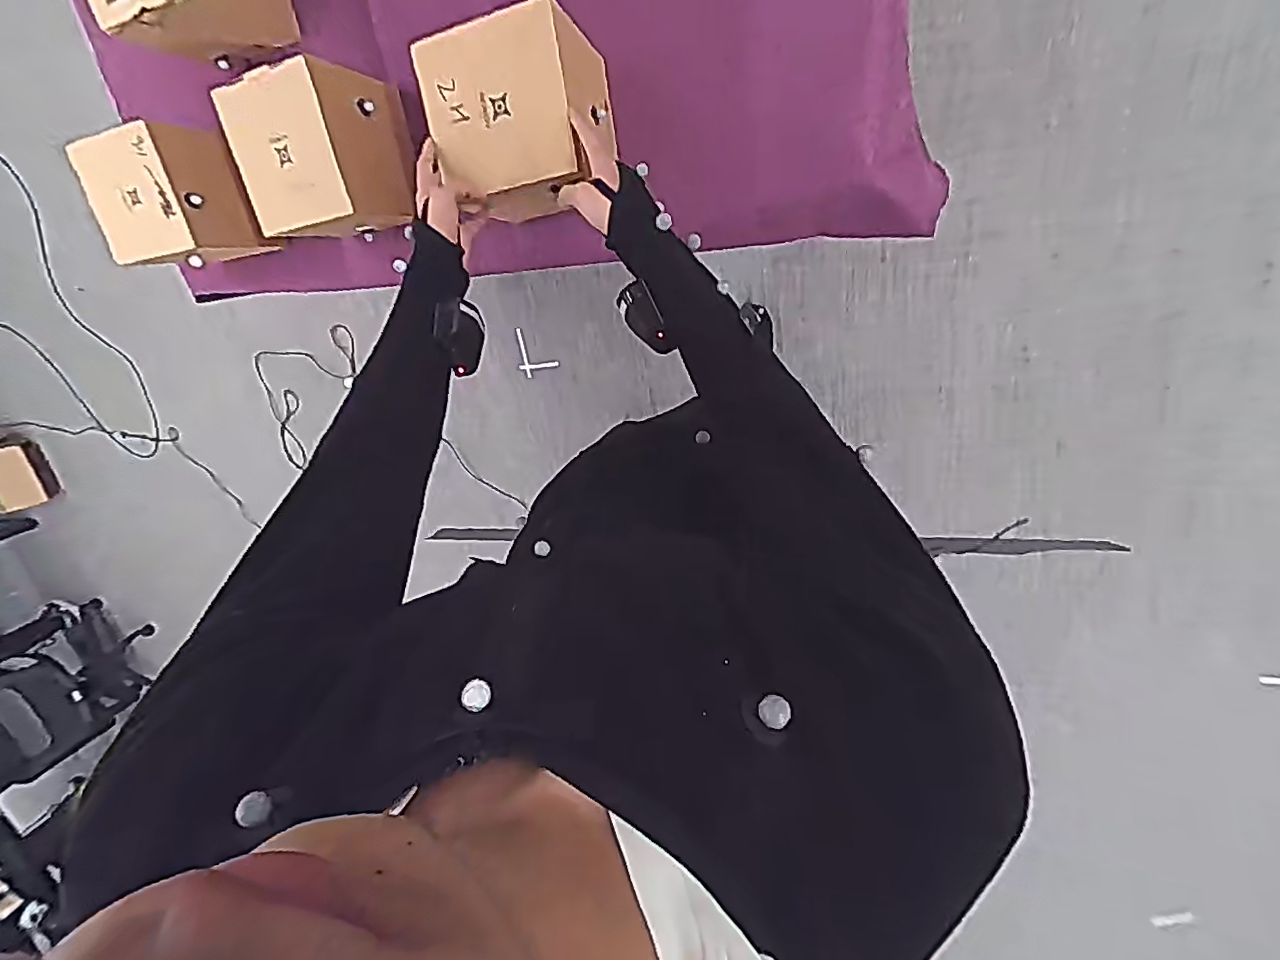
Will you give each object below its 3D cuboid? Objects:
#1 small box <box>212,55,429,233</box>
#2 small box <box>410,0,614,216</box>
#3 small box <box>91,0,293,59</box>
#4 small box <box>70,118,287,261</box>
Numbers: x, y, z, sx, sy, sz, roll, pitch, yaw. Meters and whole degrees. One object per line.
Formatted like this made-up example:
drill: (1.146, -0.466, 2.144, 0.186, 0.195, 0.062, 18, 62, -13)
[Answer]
small box: (-0.436, -0.456, 0.767, 0.168, 0.176, 0.179, -2, 114, 19)
small box: (-0.141, -0.439, 0.669, 0.179, 0.176, 0.168, -3, 107, 18)
small box: (-0.609, -0.695, 0.717, 0.168, 0.176, 0.179, -2, 112, 18)
small box: (-0.717, -0.446, 0.859, 0.179, 0.176, 0.168, -1, 113, 19)
